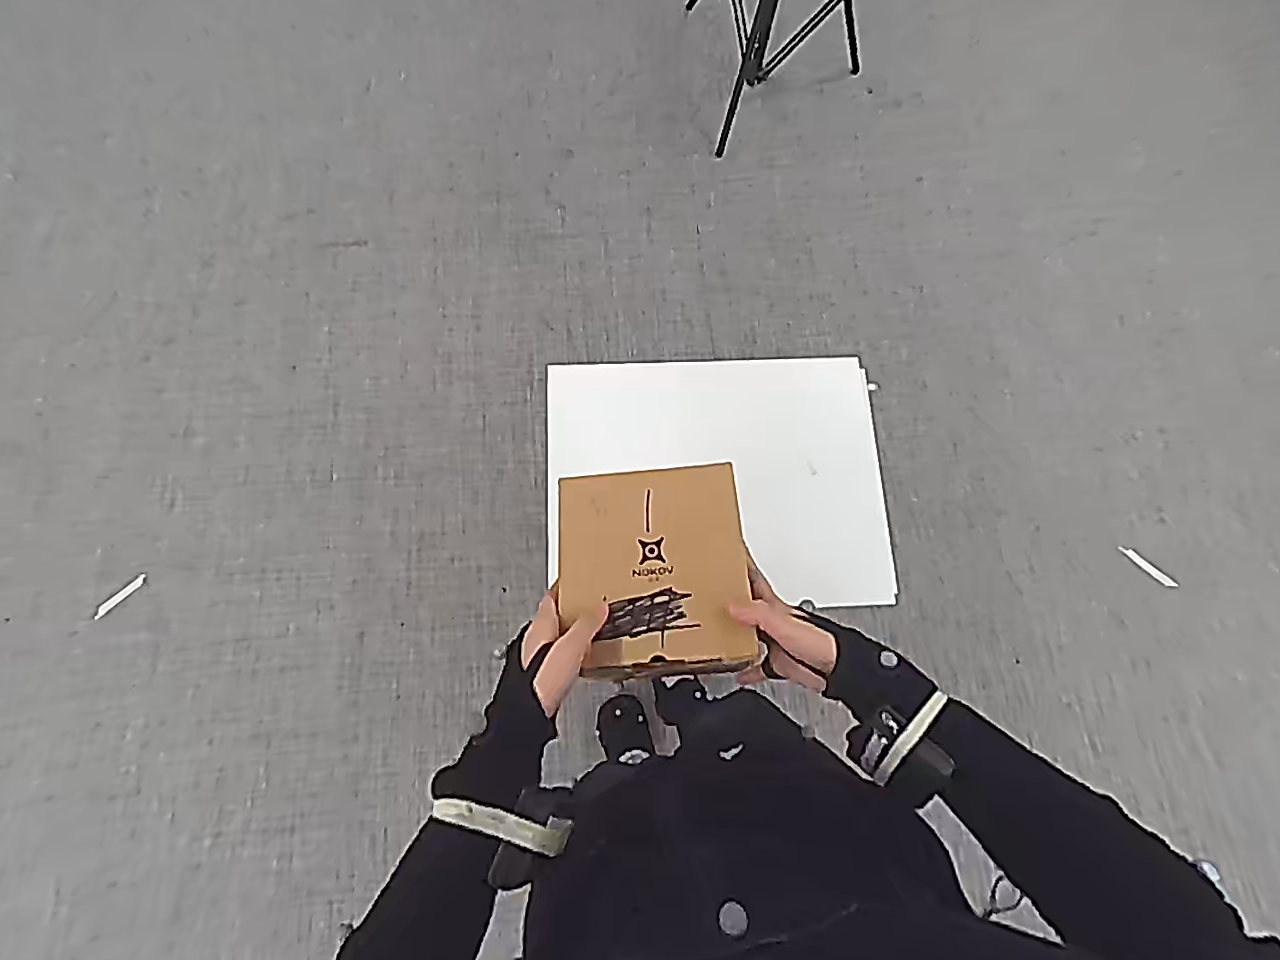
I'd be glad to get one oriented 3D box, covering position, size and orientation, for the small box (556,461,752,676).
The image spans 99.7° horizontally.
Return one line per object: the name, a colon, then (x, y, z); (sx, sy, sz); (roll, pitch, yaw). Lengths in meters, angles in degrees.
small box: (0.016, 0.100, 0.544); (0.168, 0.176, 0.179); (-5, 66, 4)
